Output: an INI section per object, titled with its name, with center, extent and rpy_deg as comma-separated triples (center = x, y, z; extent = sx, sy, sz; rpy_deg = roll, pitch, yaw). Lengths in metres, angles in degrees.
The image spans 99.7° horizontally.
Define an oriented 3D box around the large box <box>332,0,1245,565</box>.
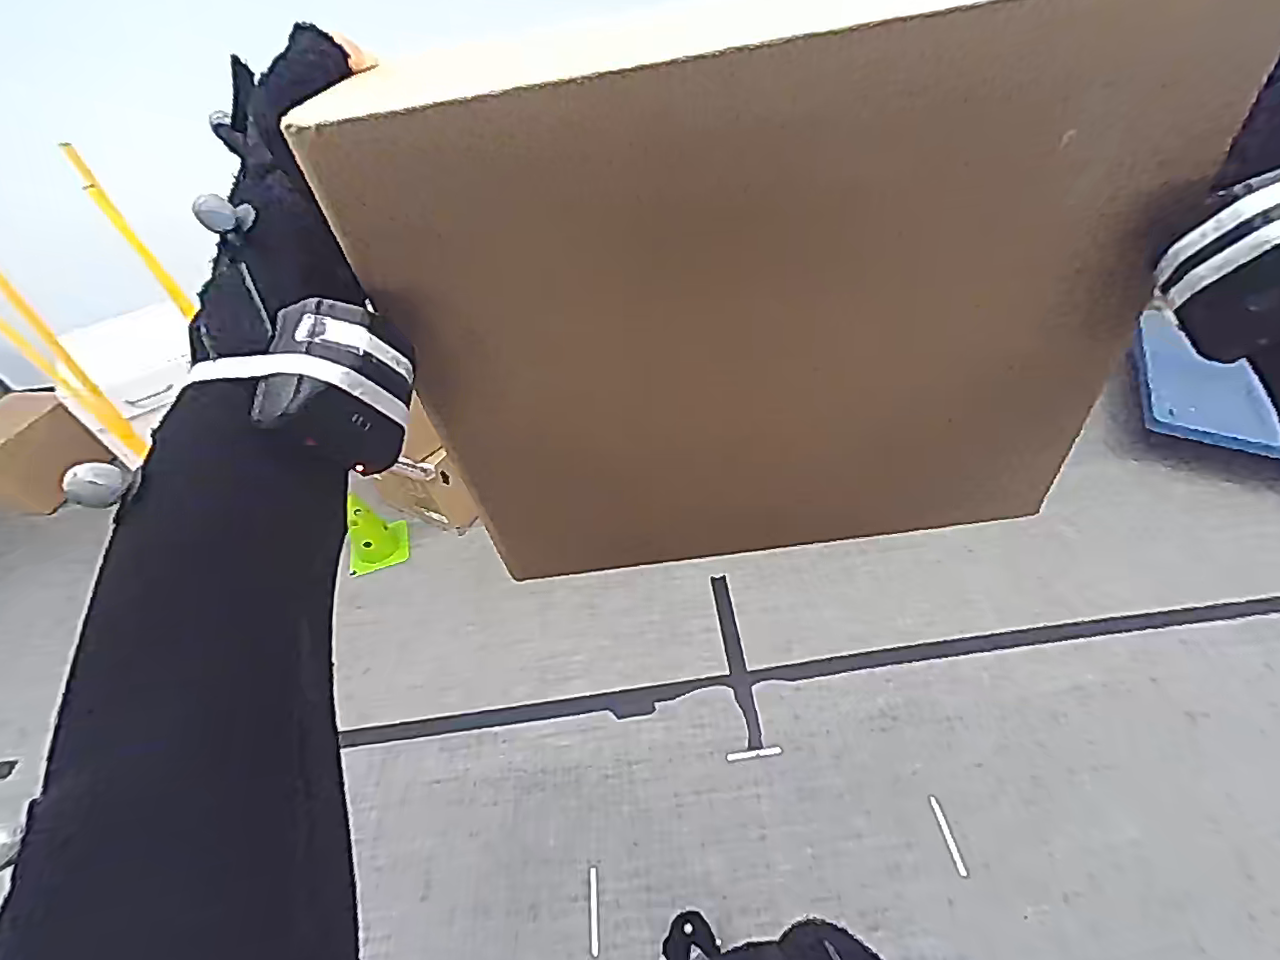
[large box]
center = 0.066, -0.164, 0.438
extent = 0.408, 0.320, 0.320
rpy_deg = -8, 43, 2
